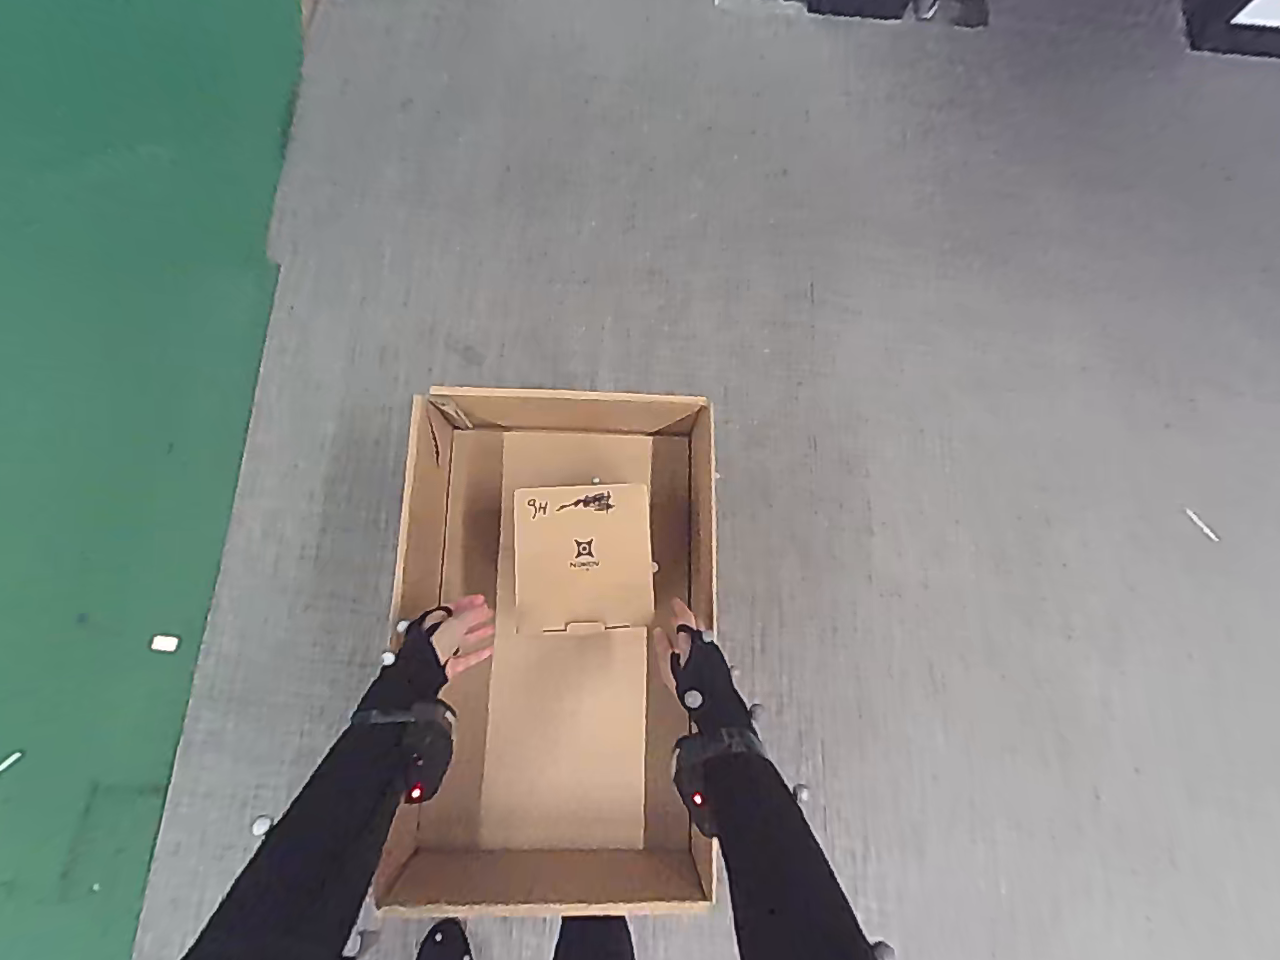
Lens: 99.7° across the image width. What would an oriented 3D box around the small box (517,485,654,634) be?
[{"bbox_3d":[-0.070,0.105,0.729,0.168,0.176,0.179,-2,80,-4],"label":"small box"}]
